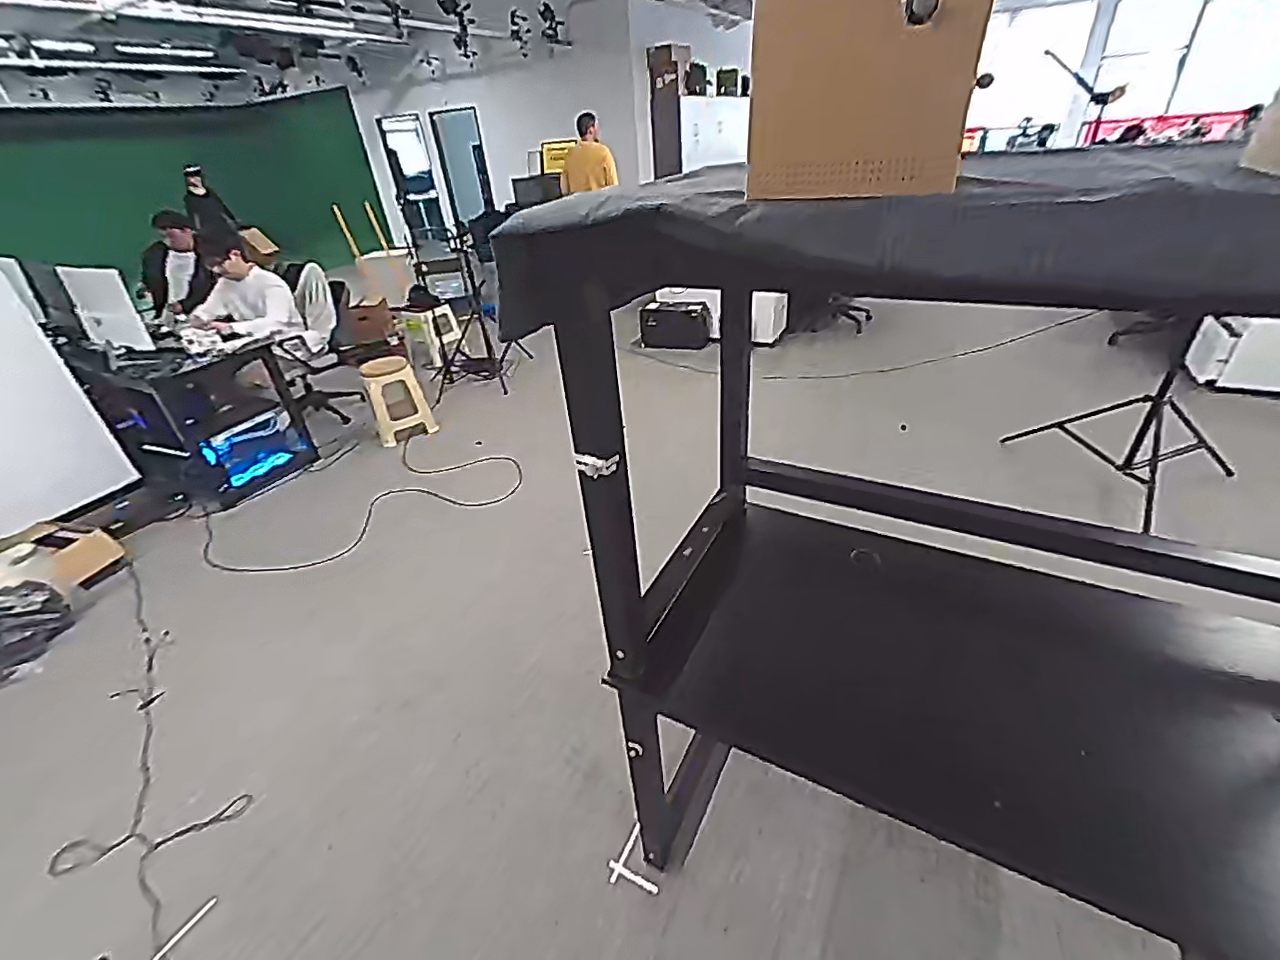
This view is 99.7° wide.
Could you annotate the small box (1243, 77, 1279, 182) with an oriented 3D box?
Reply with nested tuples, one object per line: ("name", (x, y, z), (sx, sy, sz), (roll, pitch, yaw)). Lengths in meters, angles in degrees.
("small box", (0.551, -0.285, 0.342), (0.168, 0.176, 0.179), (15, 36, 29))

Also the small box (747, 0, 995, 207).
("small box", (0.205, -0.353, 0.492), (0.179, 0.176, 0.168), (10, 34, 23))
